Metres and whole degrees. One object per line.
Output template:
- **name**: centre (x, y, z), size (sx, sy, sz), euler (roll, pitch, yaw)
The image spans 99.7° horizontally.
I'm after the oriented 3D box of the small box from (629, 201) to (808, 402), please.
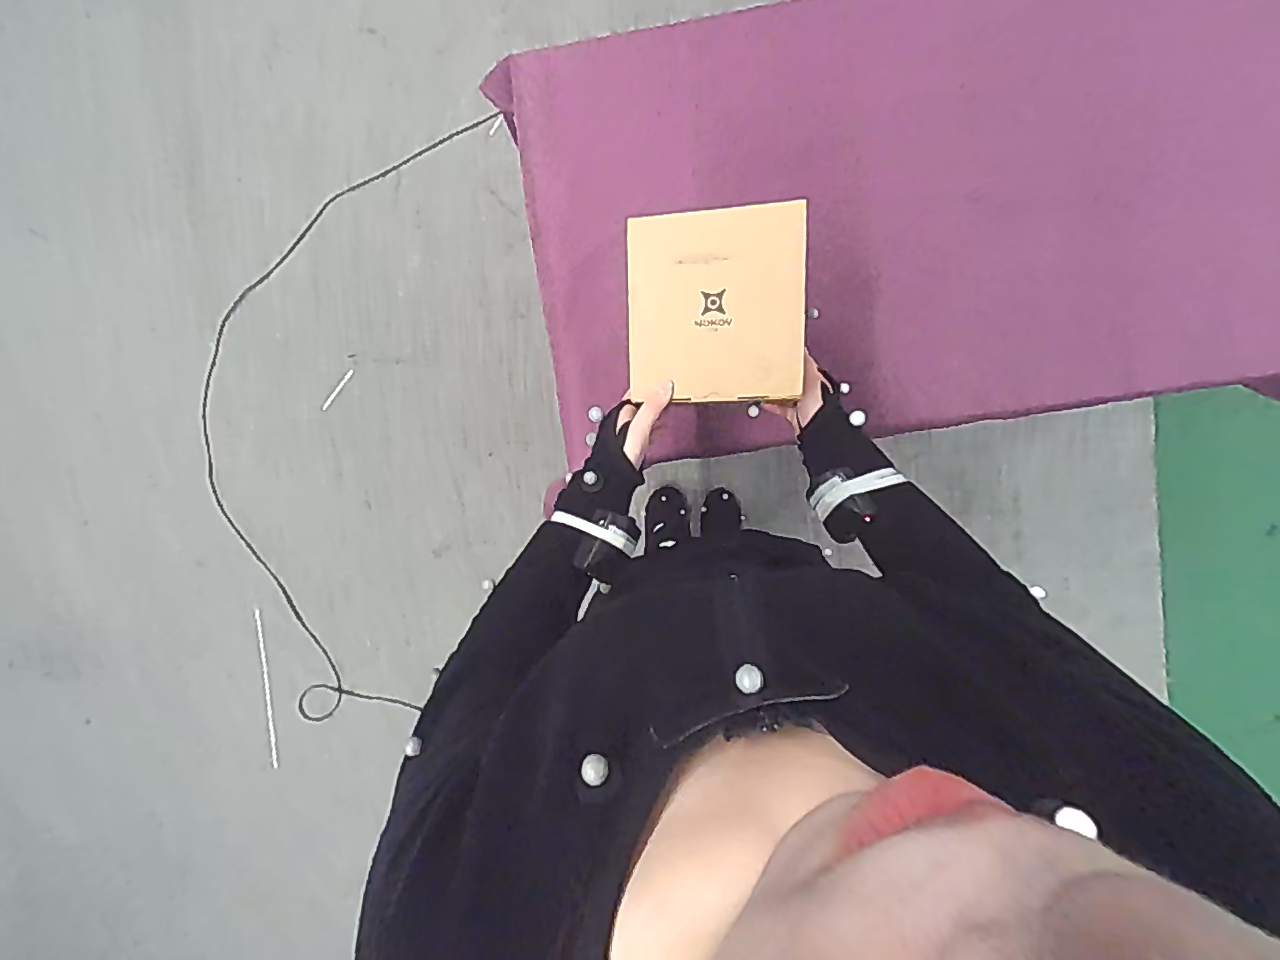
- **small box**: centre (0.087, -0.173, 0.581), size (0.168, 0.176, 0.179), euler (1, 97, 12)
